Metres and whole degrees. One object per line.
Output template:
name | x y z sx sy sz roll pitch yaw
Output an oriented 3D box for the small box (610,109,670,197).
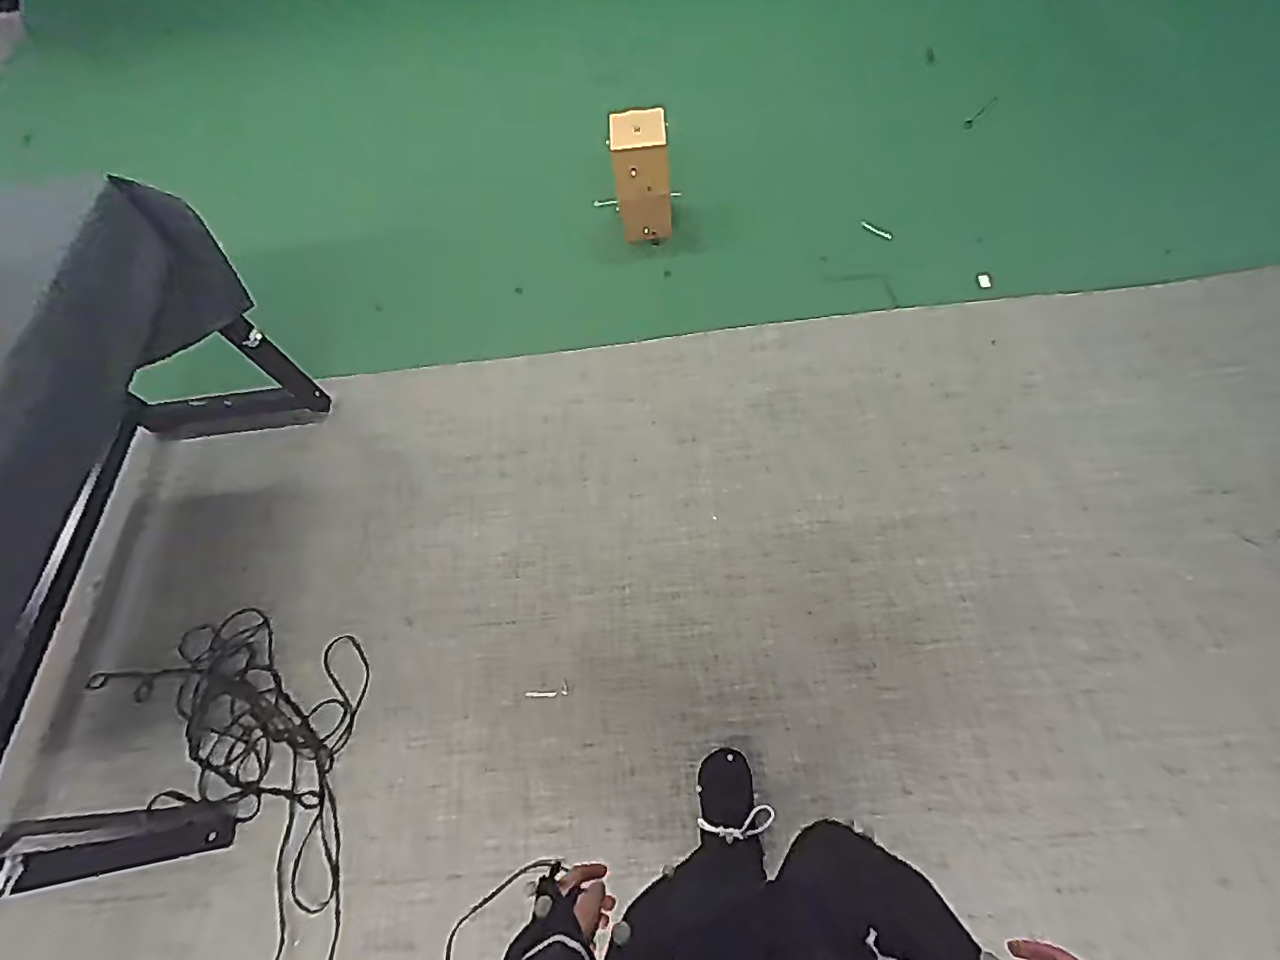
small box | 0.002 -0.999 1.669 0.168 0.176 0.179 -5 63 4
